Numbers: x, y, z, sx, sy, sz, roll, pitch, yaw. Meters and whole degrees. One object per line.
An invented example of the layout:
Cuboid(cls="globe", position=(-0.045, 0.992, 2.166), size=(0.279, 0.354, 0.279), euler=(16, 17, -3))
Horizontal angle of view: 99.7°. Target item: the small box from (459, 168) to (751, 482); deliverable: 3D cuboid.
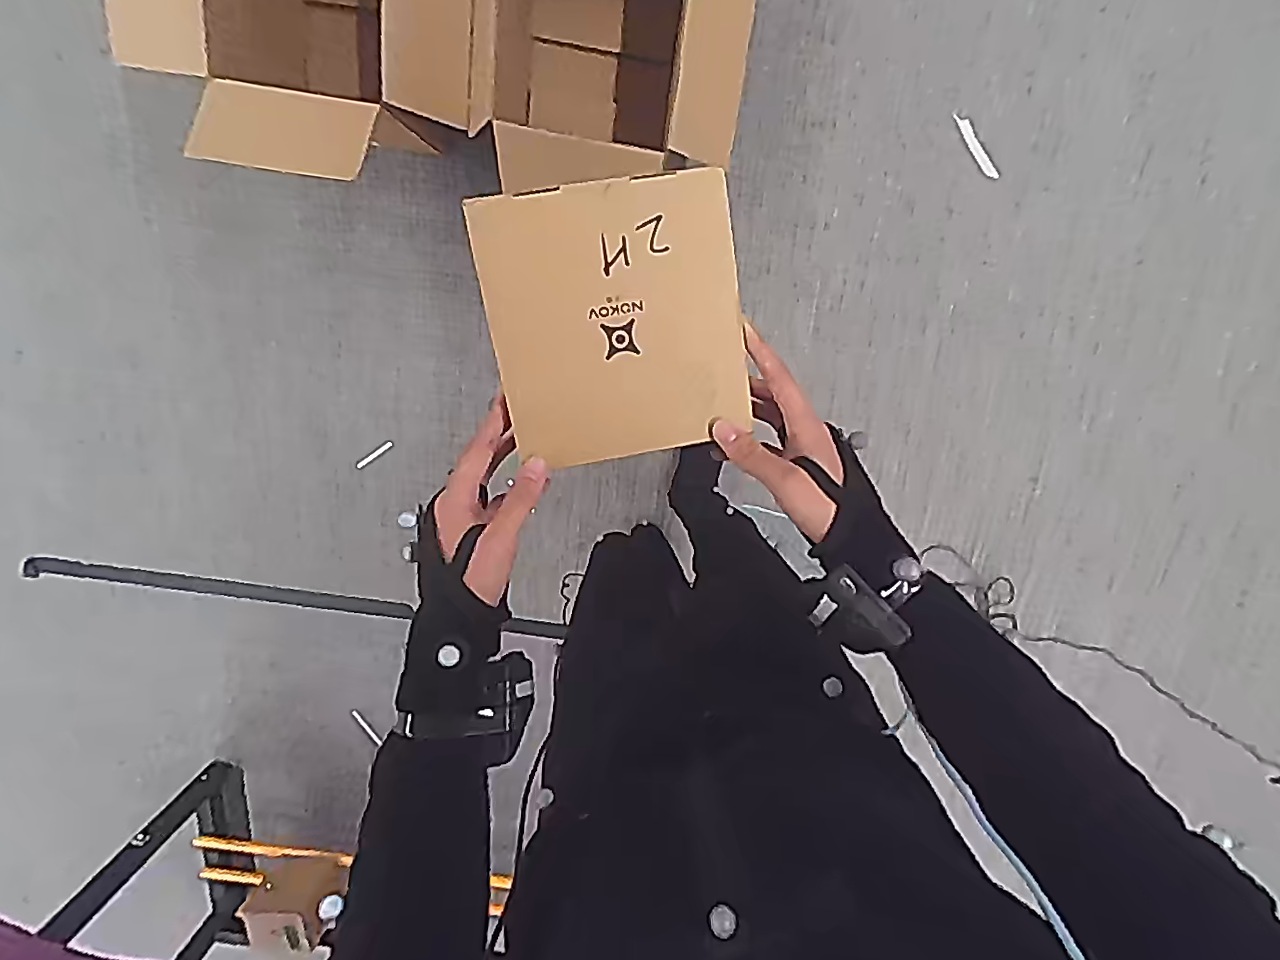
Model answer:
Cuboid(cls="small box", position=(-0.025, -0.114, 0.422), size=(0.168, 0.176, 0.179), euler=(-11, 104, -6))
